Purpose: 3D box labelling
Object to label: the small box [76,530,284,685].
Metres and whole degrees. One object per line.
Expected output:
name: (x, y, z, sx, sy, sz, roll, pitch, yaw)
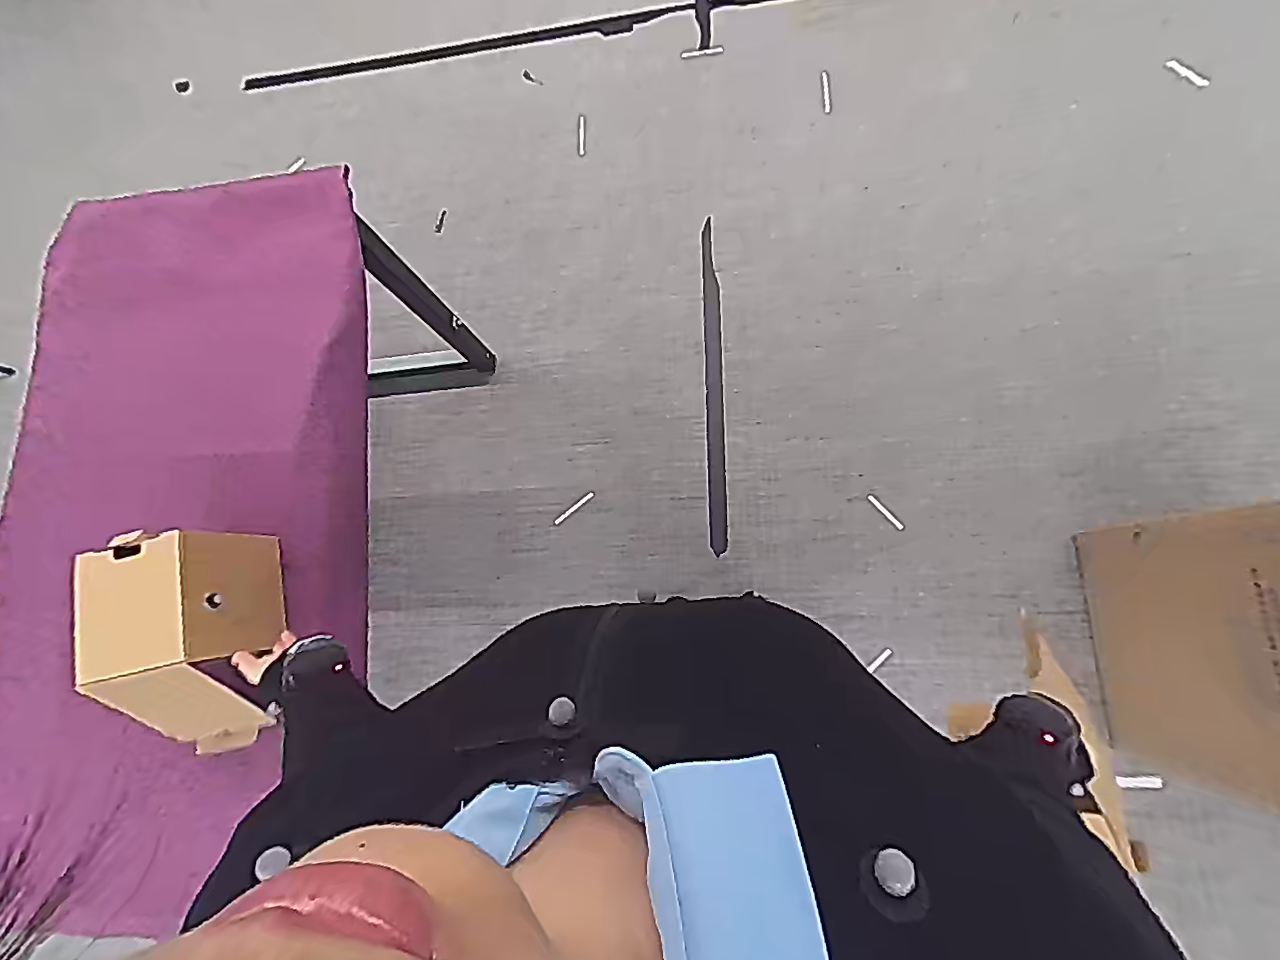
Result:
small box: (-0.654, 0.179, 0.785, 0.168, 0.176, 0.179, -13, 78, 6)
